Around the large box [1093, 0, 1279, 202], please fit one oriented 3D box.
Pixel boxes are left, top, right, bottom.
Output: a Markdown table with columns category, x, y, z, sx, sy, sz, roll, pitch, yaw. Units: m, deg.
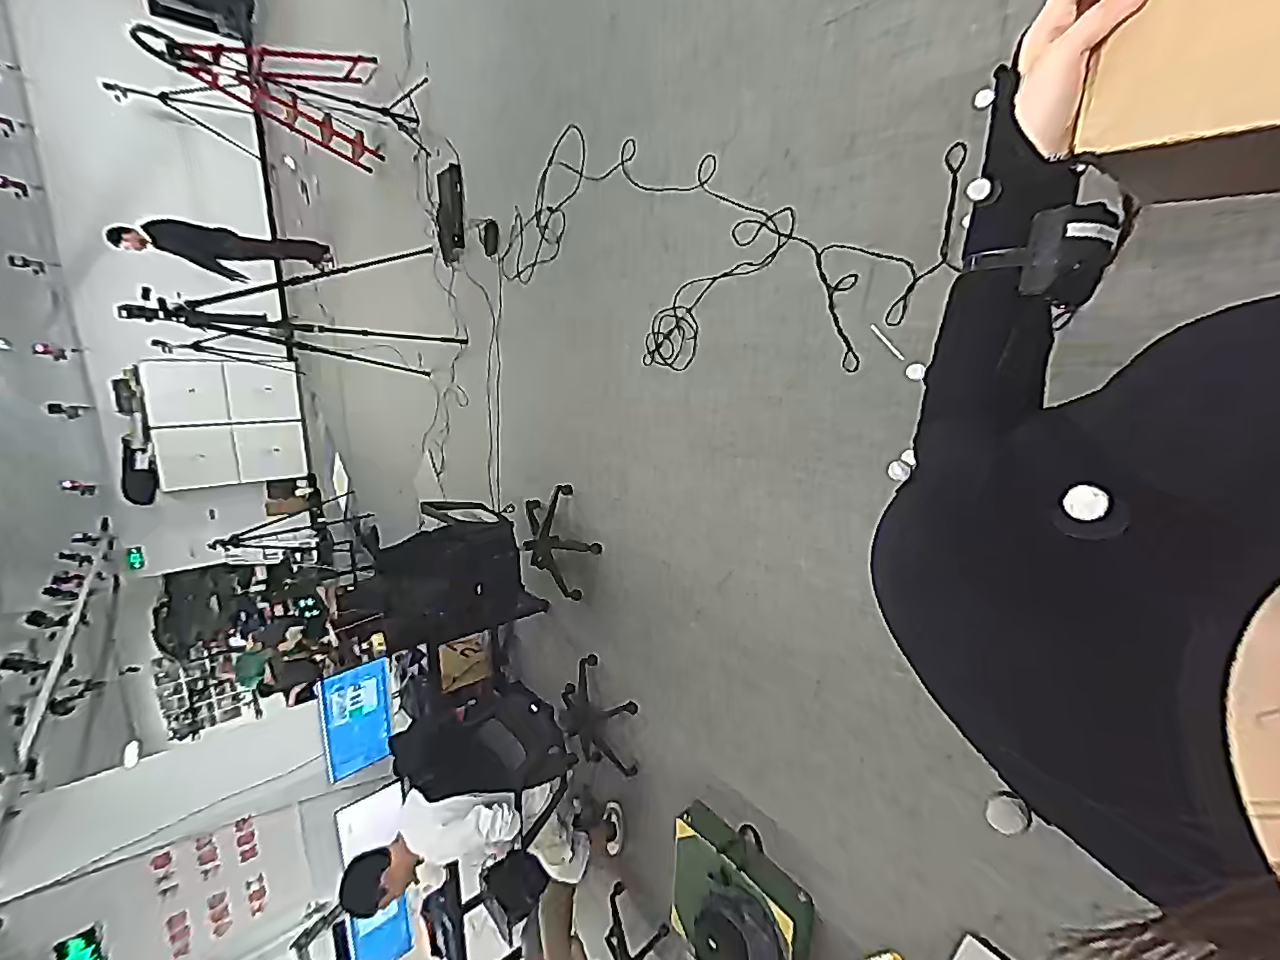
| category | x | y | z | sx | sy | sz | roll | pitch | yaw |
| --- | --- | --- | --- | --- | --- | --- | --- | --- | --- |
| large box | 0.554 | -0.369 | 0.294 | 0.408 | 0.320 | 0.320 | 17 | 115 | 44 |
